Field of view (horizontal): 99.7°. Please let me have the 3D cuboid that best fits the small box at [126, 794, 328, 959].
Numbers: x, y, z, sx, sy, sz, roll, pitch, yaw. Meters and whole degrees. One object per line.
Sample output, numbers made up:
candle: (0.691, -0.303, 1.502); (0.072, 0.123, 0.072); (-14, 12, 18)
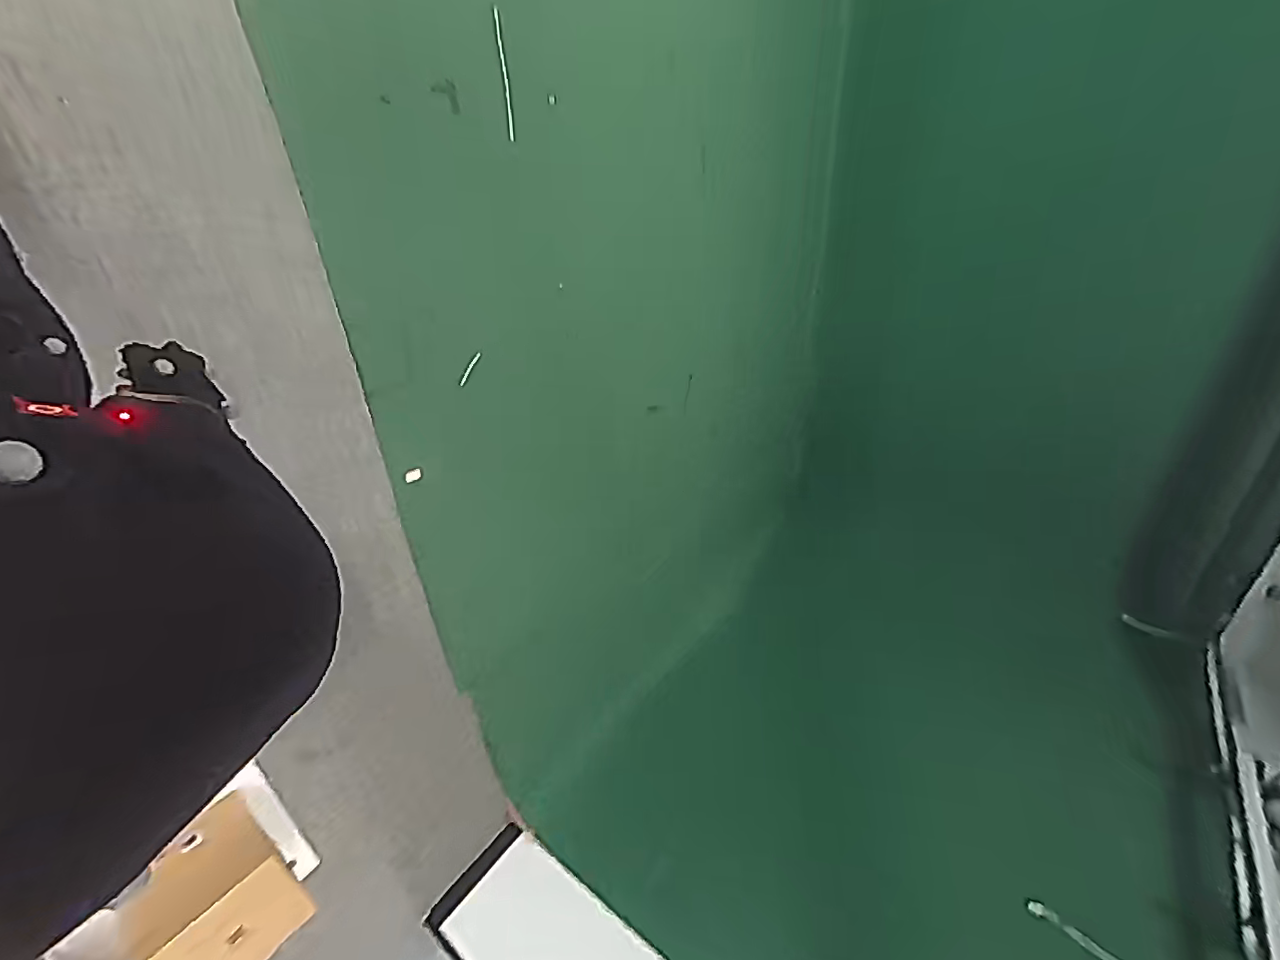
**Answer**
small box: (-0.619, 0.624, 0.818); (0.168, 0.176, 0.179); (-36, 131, -40)
